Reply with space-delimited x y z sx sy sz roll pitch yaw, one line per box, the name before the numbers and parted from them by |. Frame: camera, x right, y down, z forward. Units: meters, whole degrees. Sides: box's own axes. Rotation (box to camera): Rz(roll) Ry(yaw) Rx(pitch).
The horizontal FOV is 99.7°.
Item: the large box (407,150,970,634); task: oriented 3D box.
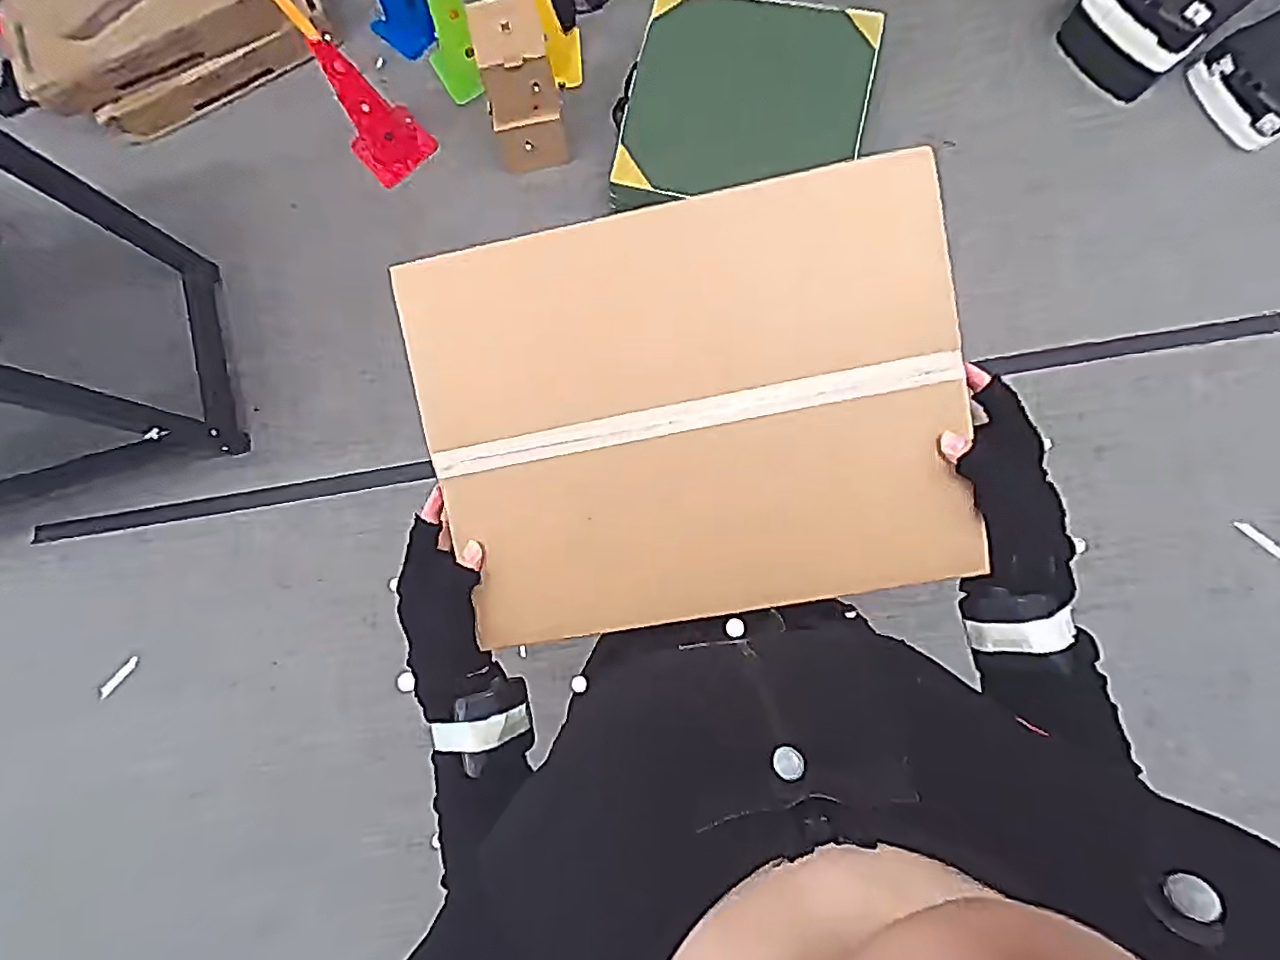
large box | 0.045 -0.070 0.570 0.408 0.320 0.320 -10 97 6
